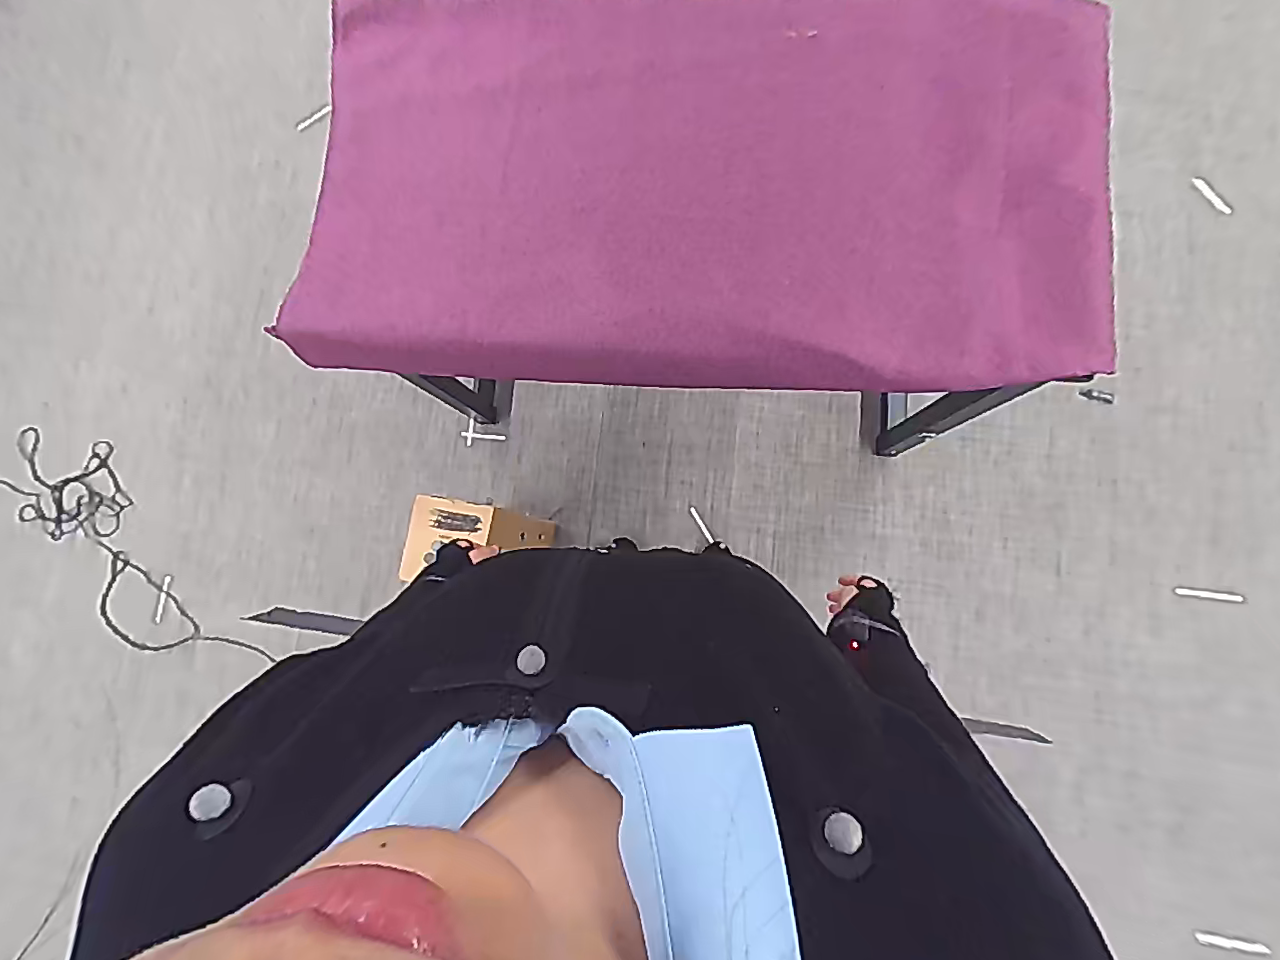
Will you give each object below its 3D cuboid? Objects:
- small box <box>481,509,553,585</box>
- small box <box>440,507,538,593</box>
[{"bbox_3d":[-0.346,0.186,1.463,0.168,0.176,0.179,12,83,6],"label":"small box"},{"bbox_3d":[-0.354,0.168,1.299,0.168,0.176,0.179,7,83,6],"label":"small box"}]
